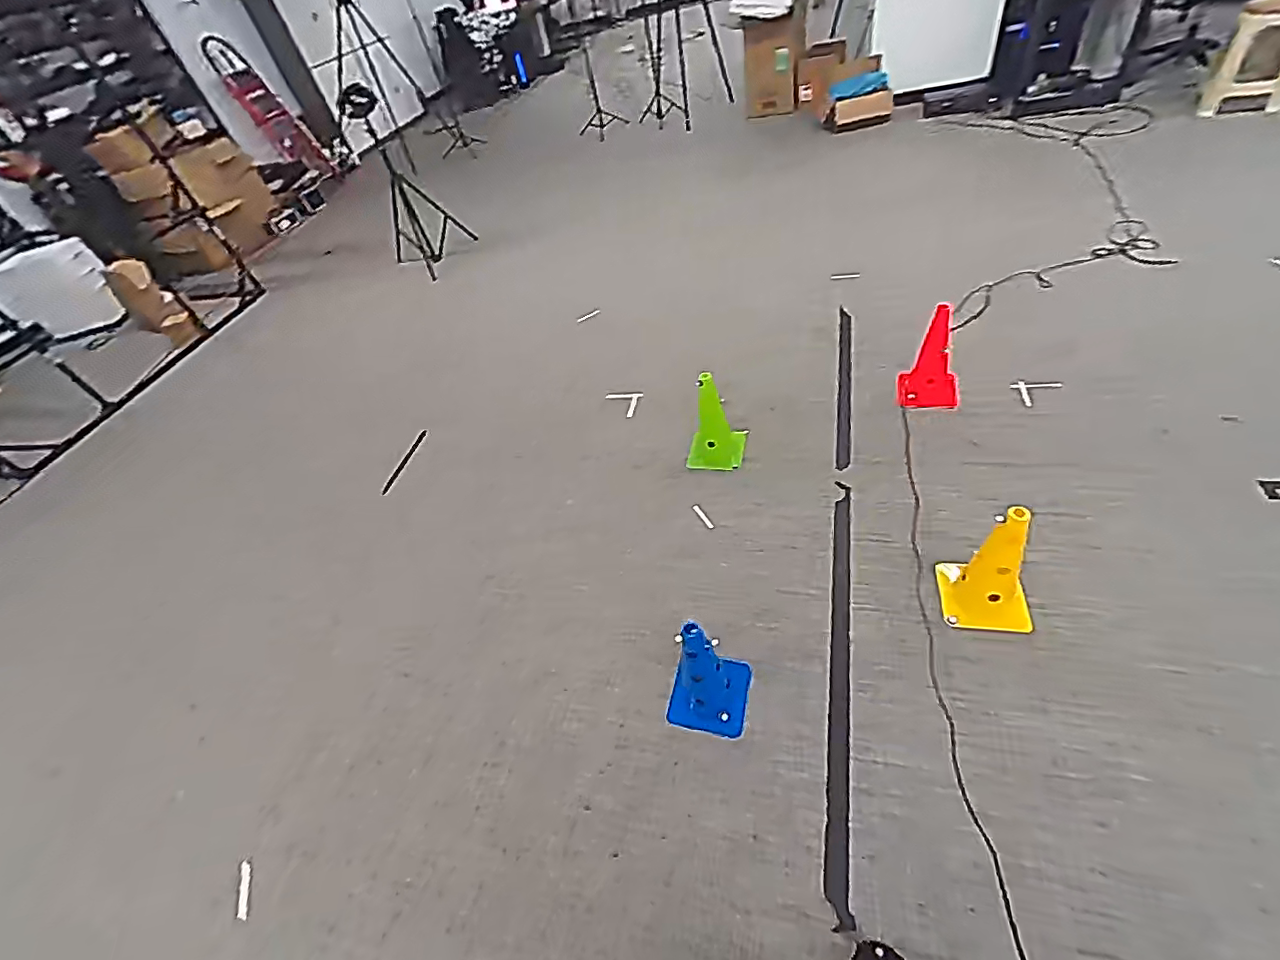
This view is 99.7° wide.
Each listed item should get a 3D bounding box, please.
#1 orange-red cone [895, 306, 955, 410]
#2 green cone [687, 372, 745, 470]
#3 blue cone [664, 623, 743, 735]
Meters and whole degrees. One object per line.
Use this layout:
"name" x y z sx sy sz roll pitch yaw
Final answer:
"orange-red cone" 1.033 -0.446 1.899 0.199 0.360 0.198 7 51 21
"green cone" 0.248 -0.230 1.921 0.202 0.368 0.200 2 48 20
"blue cone" 0.134 0.458 1.321 0.192 0.380 0.193 5 49 22
